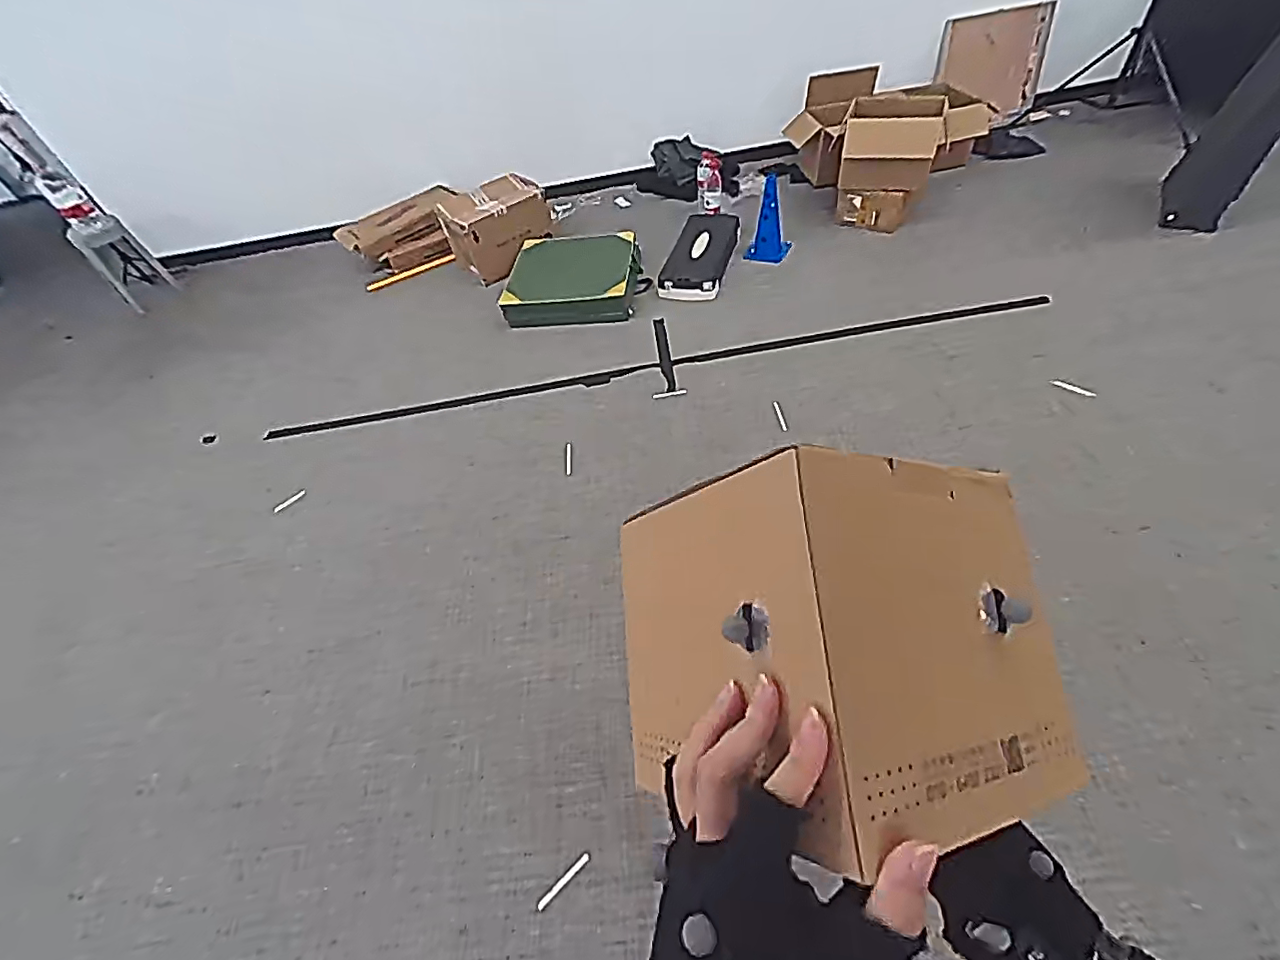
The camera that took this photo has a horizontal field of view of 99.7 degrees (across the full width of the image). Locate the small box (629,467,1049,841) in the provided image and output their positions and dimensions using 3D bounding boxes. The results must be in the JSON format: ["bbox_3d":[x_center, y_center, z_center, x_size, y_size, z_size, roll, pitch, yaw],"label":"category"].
[{"bbox_3d":[0.107,0.100,0.338,0.168,0.179,0.176,5,72,-28],"label":"small box"}]
